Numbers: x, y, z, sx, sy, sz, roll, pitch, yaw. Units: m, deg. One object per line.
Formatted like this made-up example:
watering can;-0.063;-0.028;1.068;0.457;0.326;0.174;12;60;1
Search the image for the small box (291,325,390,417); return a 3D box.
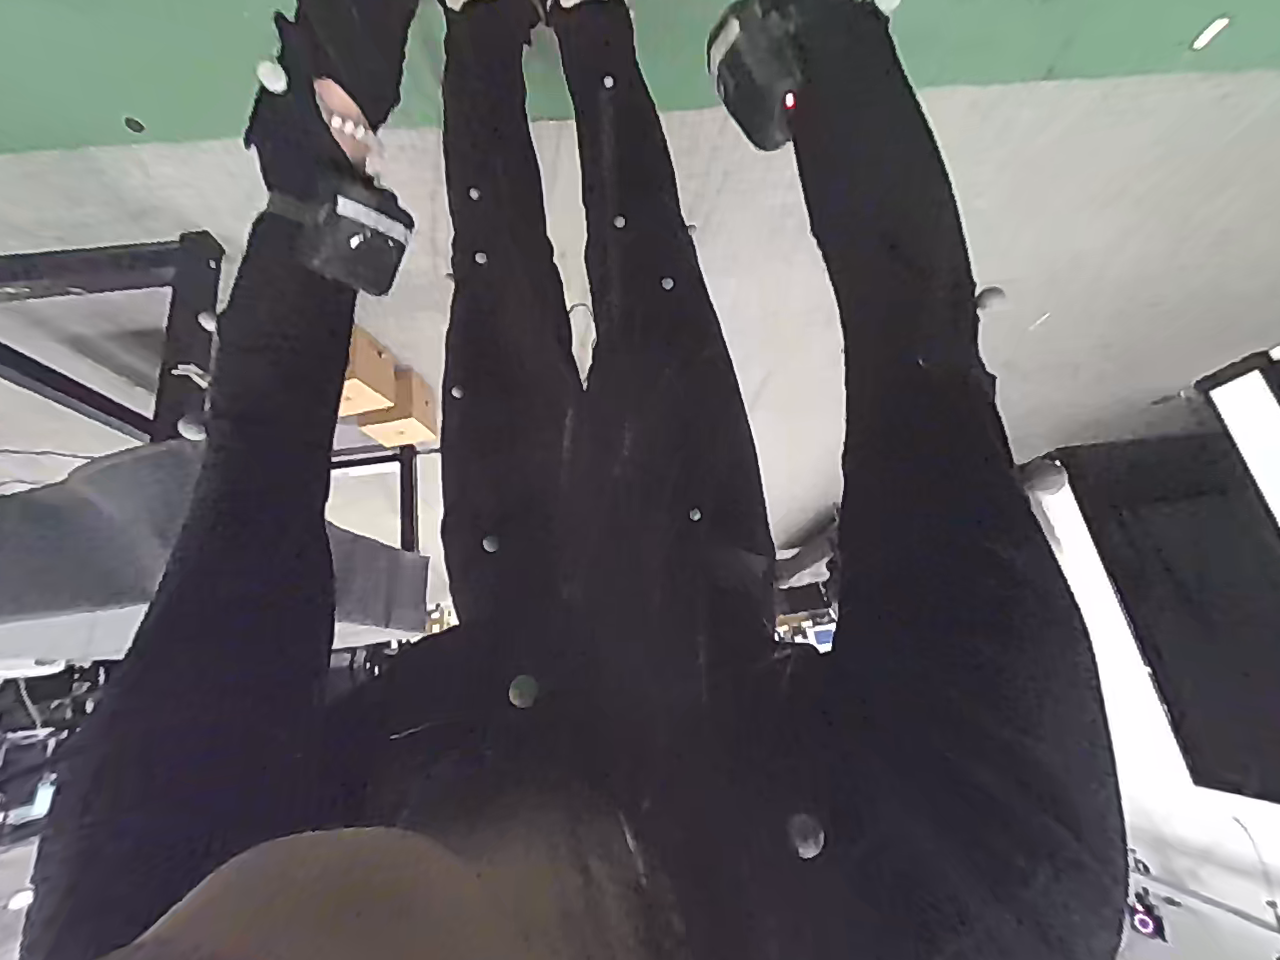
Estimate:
small box;-0.795;-0.291;1.452;0.179;0.176;0.168;-10;164;7
